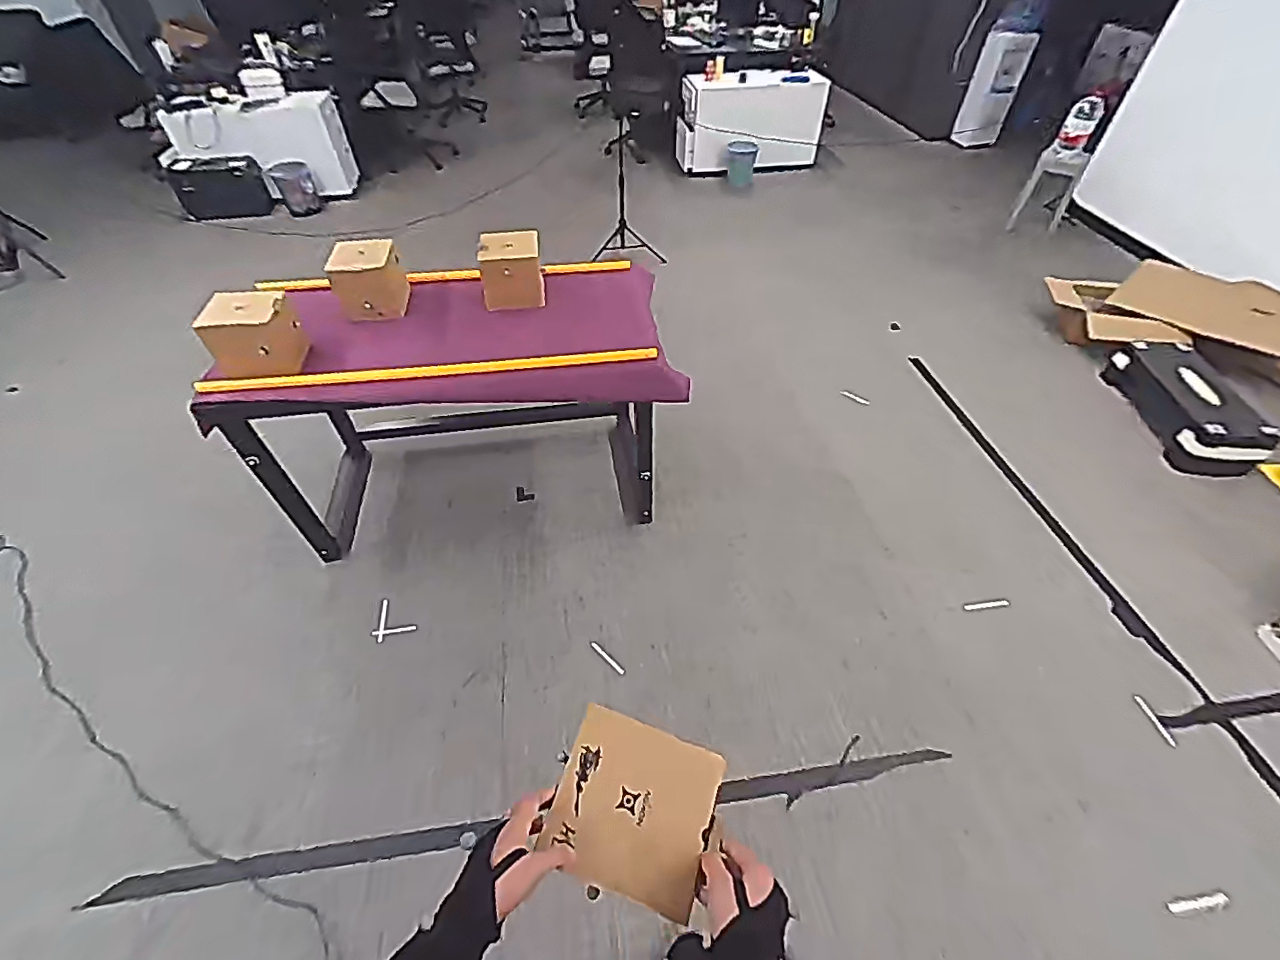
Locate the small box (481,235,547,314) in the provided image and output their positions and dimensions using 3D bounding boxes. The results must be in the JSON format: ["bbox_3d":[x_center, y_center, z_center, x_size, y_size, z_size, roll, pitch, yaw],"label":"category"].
[{"bbox_3d":[-0.384,-0.635,1.676,0.179,0.176,0.168,-6,50,-4],"label":"small box"}]

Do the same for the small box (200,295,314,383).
[{"bbox_3d":[-1.007,-0.375,1.444,0.179,0.176,0.168,-5,47,-7],"label":"small box"}]

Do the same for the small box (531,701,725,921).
[{"bbox_3d":[-0.020,0.396,0.662,0.179,0.176,0.168,22,56,3],"label":"small box"}]

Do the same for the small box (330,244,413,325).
[{"bbox_3d":[-0.803,-0.594,1.641,0.168,0.176,0.179,-6,50,-4],"label":"small box"}]
